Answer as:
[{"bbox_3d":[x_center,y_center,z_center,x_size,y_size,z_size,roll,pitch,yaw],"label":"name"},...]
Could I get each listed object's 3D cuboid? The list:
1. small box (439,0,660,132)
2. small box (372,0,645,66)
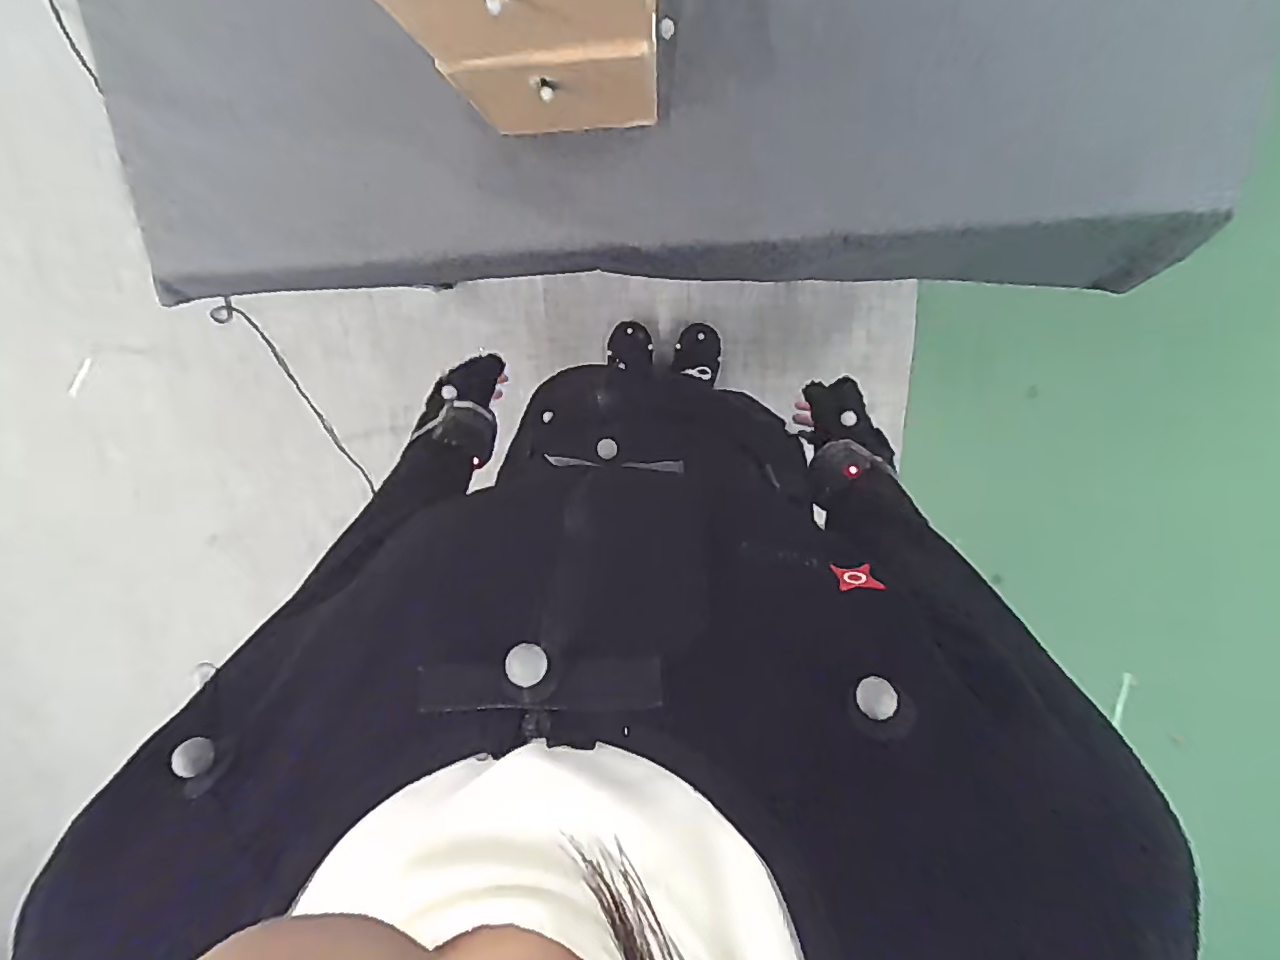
[{"bbox_3d":[-0.074,-0.435,0.490,0.179,0.176,0.168,-1,108,4],"label":"small box"},{"bbox_3d":[-0.088,-0.391,0.333,0.179,0.176,0.168,-2,107,7],"label":"small box"}]
